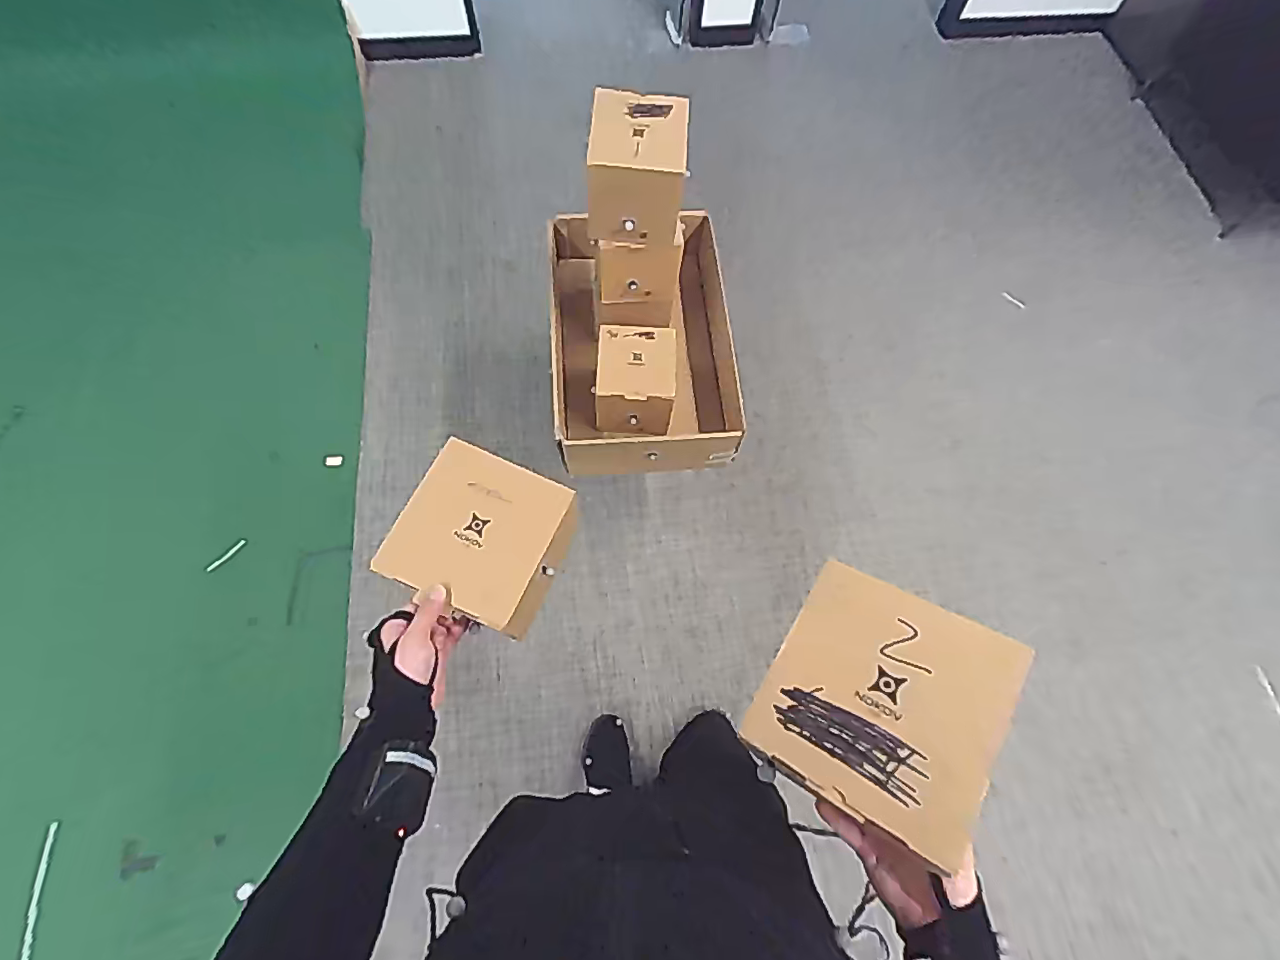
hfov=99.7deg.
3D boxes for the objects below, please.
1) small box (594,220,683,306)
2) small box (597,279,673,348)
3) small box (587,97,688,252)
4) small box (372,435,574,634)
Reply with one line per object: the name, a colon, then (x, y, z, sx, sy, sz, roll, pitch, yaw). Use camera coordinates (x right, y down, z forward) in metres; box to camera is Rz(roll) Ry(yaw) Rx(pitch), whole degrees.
small box: (-0.010, -0.494, 1.148, 0.168, 0.176, 0.179, -5, 70, -5)
small box: (-0.018, -0.440, 1.300, 0.168, 0.176, 0.179, -4, 70, -4)
small box: (-0.007, -0.556, 0.995, 0.168, 0.176, 0.179, 4, 70, -1)
small box: (-0.189, 0.079, 0.681, 0.168, 0.176, 0.179, 25, 69, 5)
